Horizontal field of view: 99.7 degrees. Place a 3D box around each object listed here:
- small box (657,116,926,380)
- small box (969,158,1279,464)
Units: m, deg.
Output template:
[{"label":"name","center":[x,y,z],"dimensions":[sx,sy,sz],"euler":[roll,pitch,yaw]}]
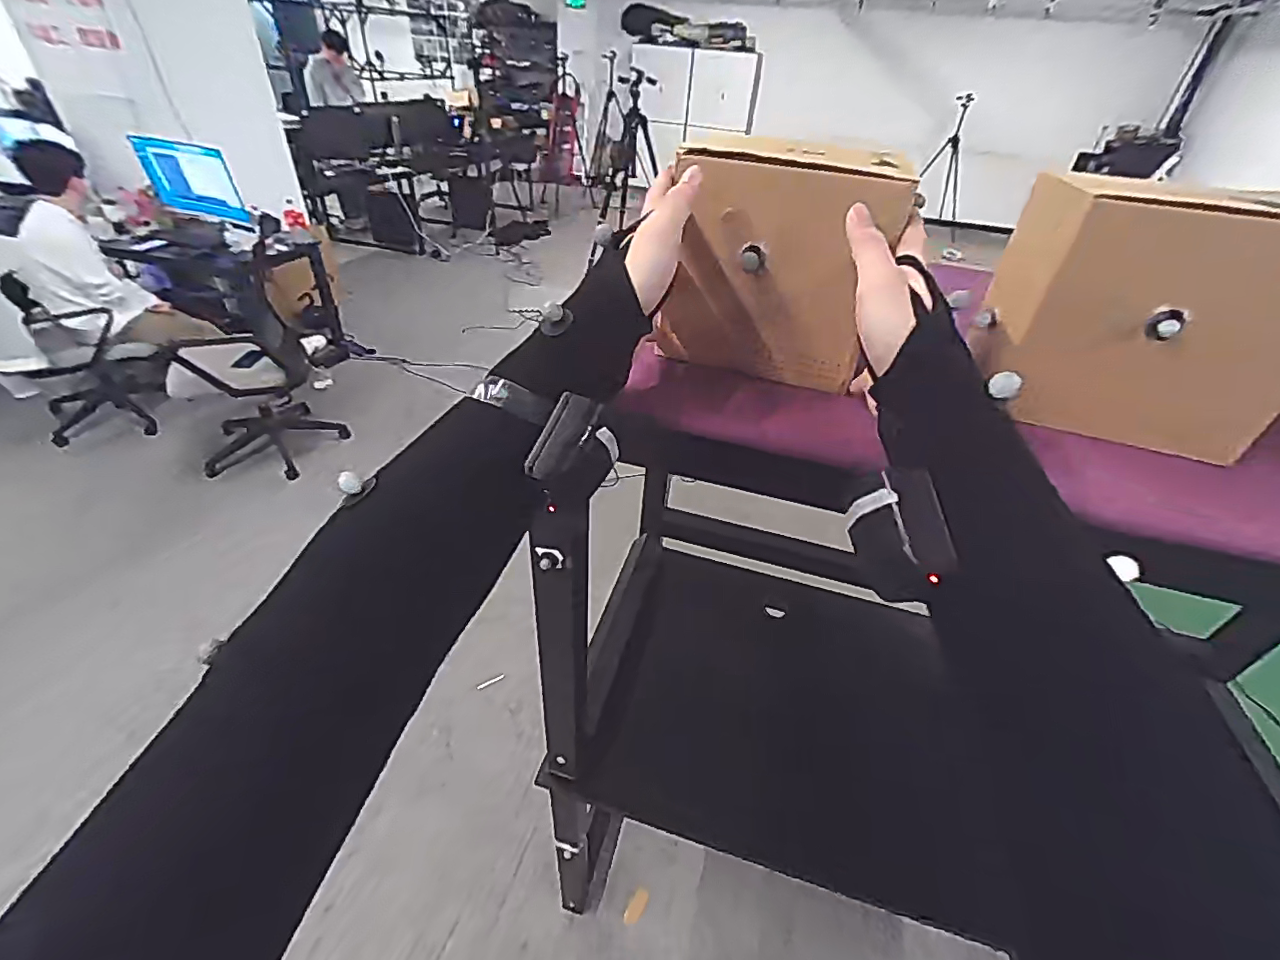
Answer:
[{"label":"small box","center":[0.123,-0.205,0.471],"dimensions":[0.179,0.176,0.168],"euler":[17,40,13]},{"label":"small box","center":[0.390,-0.134,0.420],"dimensions":[0.179,0.176,0.168],"euler":[18,39,15]}]
